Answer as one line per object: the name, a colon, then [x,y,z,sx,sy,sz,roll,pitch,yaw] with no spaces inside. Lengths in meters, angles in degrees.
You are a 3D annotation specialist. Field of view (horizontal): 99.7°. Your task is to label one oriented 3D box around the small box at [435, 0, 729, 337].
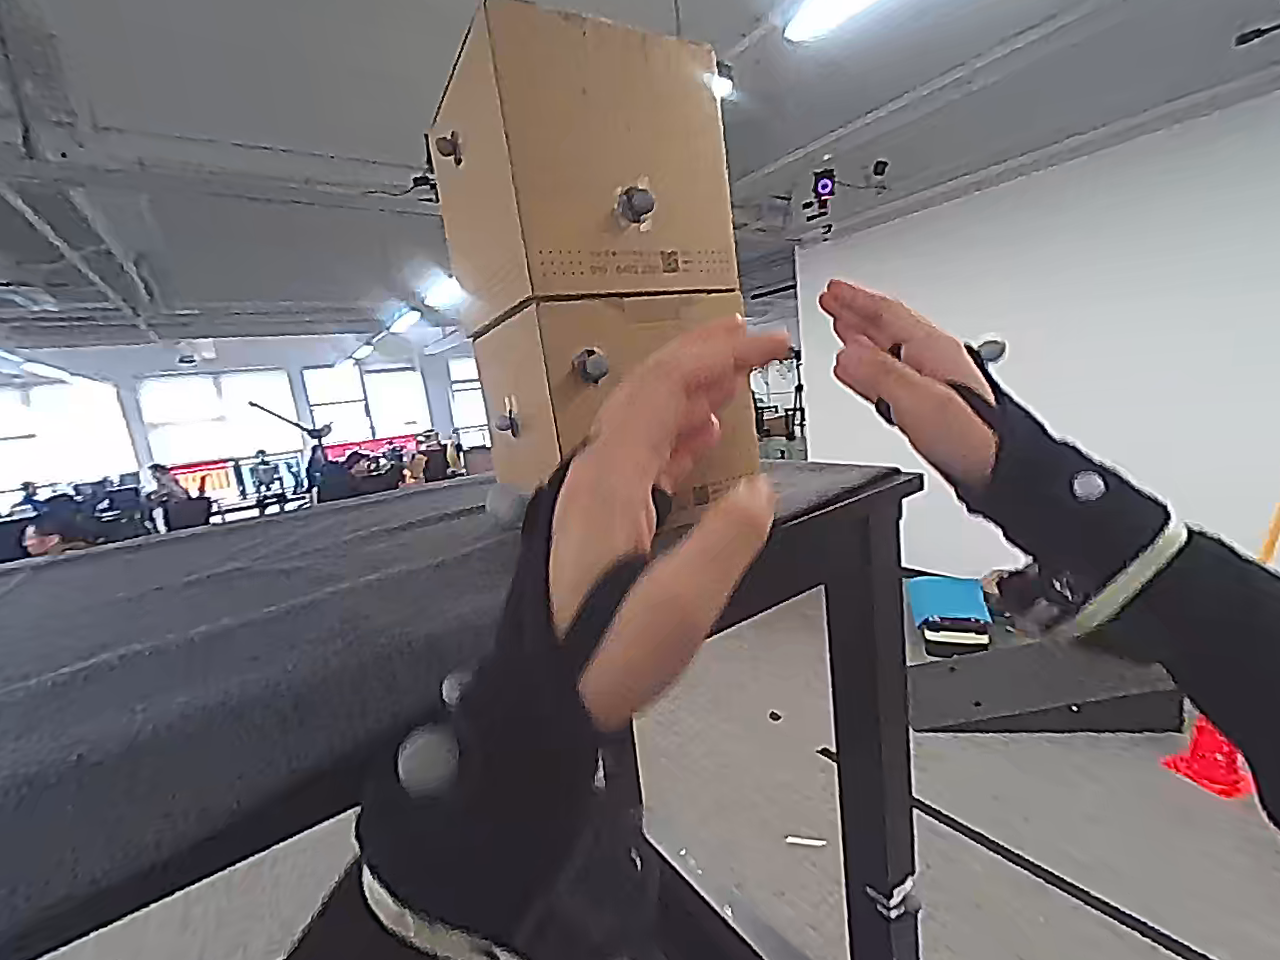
small box: [-0.050,-0.213,0.429,0.168,0.176,0.179,-14,11,-29]
